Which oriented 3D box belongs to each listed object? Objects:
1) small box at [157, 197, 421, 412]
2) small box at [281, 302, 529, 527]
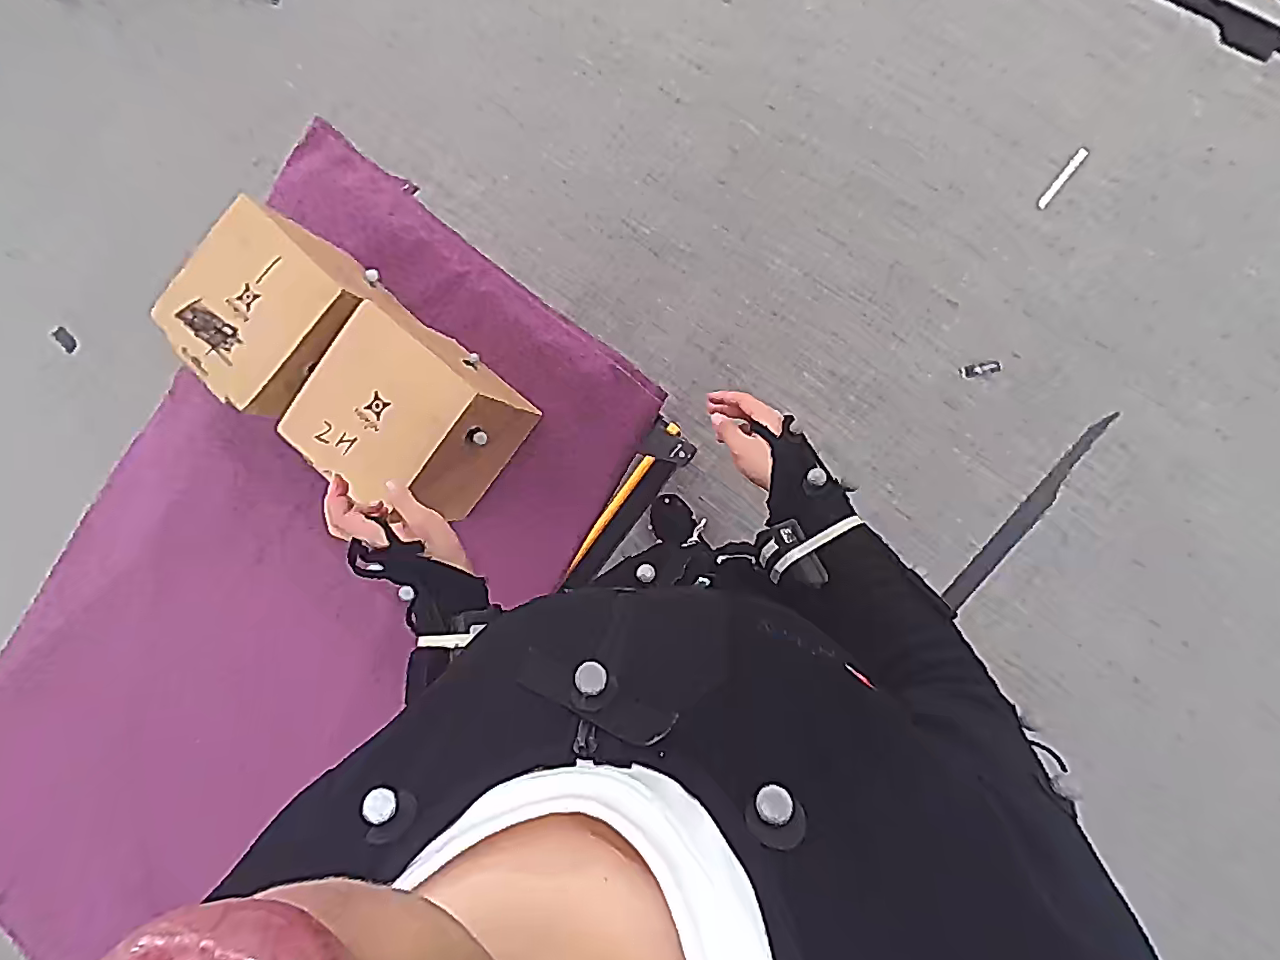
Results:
[{"bbox_3d":[-0.411,-0.188,0.661,0.168,0.176,0.179,44,96,6],"label":"small box"},{"bbox_3d":[-0.253,-0.067,0.631,0.168,0.176,0.179,40,97,10],"label":"small box"}]
